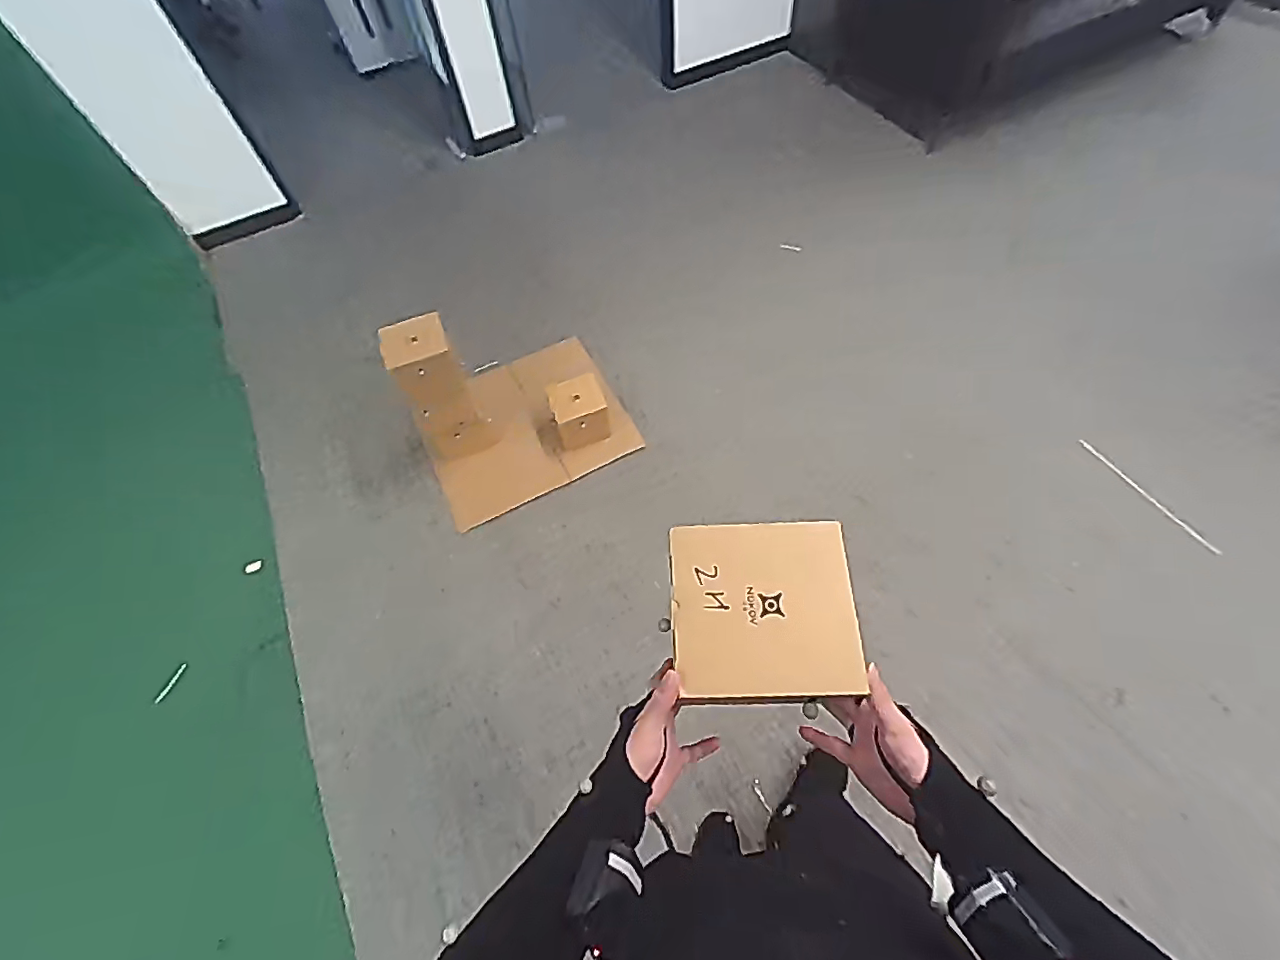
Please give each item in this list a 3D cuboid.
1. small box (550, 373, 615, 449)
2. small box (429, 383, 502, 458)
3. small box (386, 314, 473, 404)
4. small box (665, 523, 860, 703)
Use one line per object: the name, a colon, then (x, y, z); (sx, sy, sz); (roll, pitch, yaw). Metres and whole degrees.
small box: (-0.192, -0.236, 1.872); (0.179, 0.176, 0.168); (-22, 61, -7)
small box: (-0.605, -0.201, 1.882); (0.179, 0.176, 0.168); (-22, 61, -9)
small box: (-0.617, -0.351, 1.591); (0.179, 0.176, 0.168); (-20, 62, -7)
small box: (0.117, 0.152, 0.594); (0.179, 0.176, 0.168); (-3, 65, 3)
